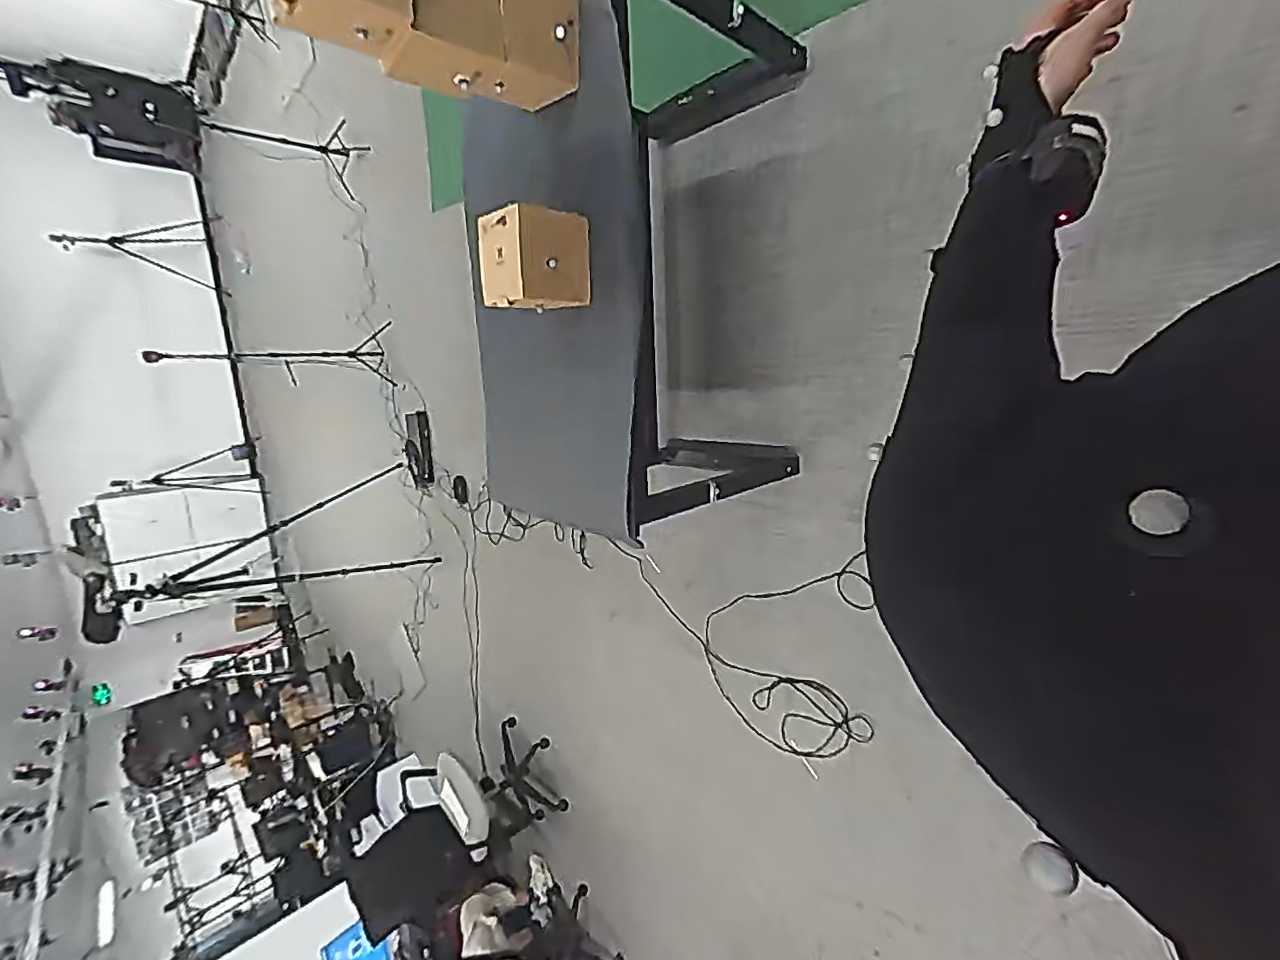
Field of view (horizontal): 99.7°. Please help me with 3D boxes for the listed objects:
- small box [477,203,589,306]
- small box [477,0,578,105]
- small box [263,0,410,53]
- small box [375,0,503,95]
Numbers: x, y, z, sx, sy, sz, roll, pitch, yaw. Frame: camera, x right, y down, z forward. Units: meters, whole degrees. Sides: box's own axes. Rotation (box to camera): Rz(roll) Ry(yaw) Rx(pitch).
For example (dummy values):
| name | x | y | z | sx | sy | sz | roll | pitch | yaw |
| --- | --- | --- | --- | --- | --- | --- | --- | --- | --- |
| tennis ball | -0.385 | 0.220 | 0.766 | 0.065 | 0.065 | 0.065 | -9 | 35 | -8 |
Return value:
| name | x | y | z | sx | sy | sz | roll | pitch | yaw |
| --- | --- | --- | --- | --- | --- | --- | --- | --- | --- |
| small box | -0.220 | -0.461 | 1.132 | 0.168 | 0.176 | 0.179 | 13 | 110 | 45 |
| small box | -0.238 | -0.855 | 1.043 | 0.179 | 0.176 | 0.168 | 18 | 114 | 44 |
| small box | -0.465 | -0.797 | 0.814 | 0.168 | 0.176 | 0.179 | 15 | 112 | 47 |
| small box | -0.357 | -0.816 | 0.940 | 0.168 | 0.176 | 0.179 | 8 | 108 | 49 |
